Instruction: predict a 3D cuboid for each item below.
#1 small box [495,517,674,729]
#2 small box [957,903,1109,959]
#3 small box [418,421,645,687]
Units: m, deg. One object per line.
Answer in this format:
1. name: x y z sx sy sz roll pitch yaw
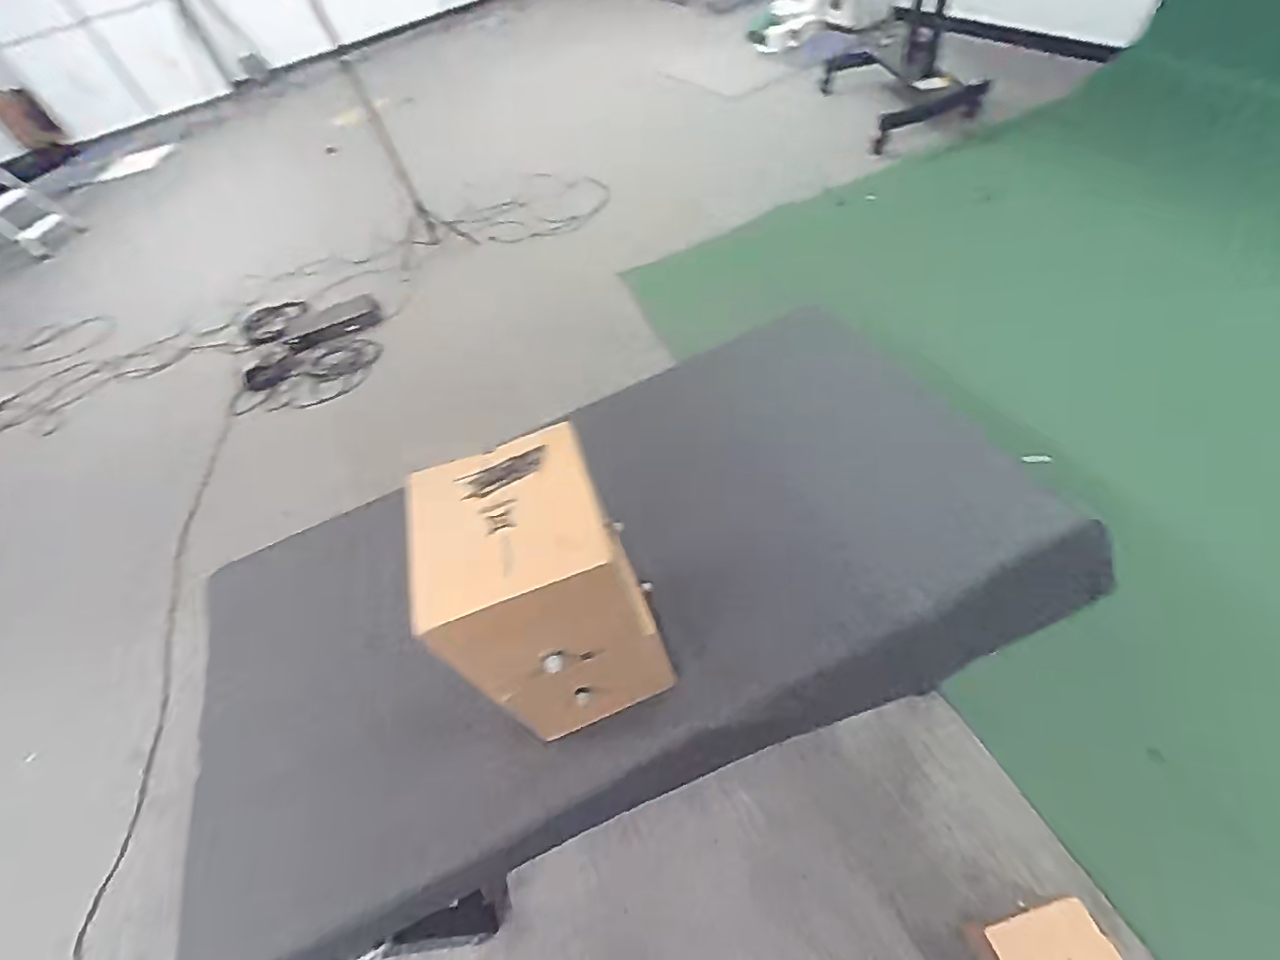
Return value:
1. small box: -0.074 0.180 0.666 0.179 0.176 0.168 -22 50 -4
2. small box: 0.681 0.843 0.916 0.179 0.176 0.168 -19 49 -1
3. small box: -0.104 0.076 0.541 0.168 0.176 0.179 -19 51 -3
